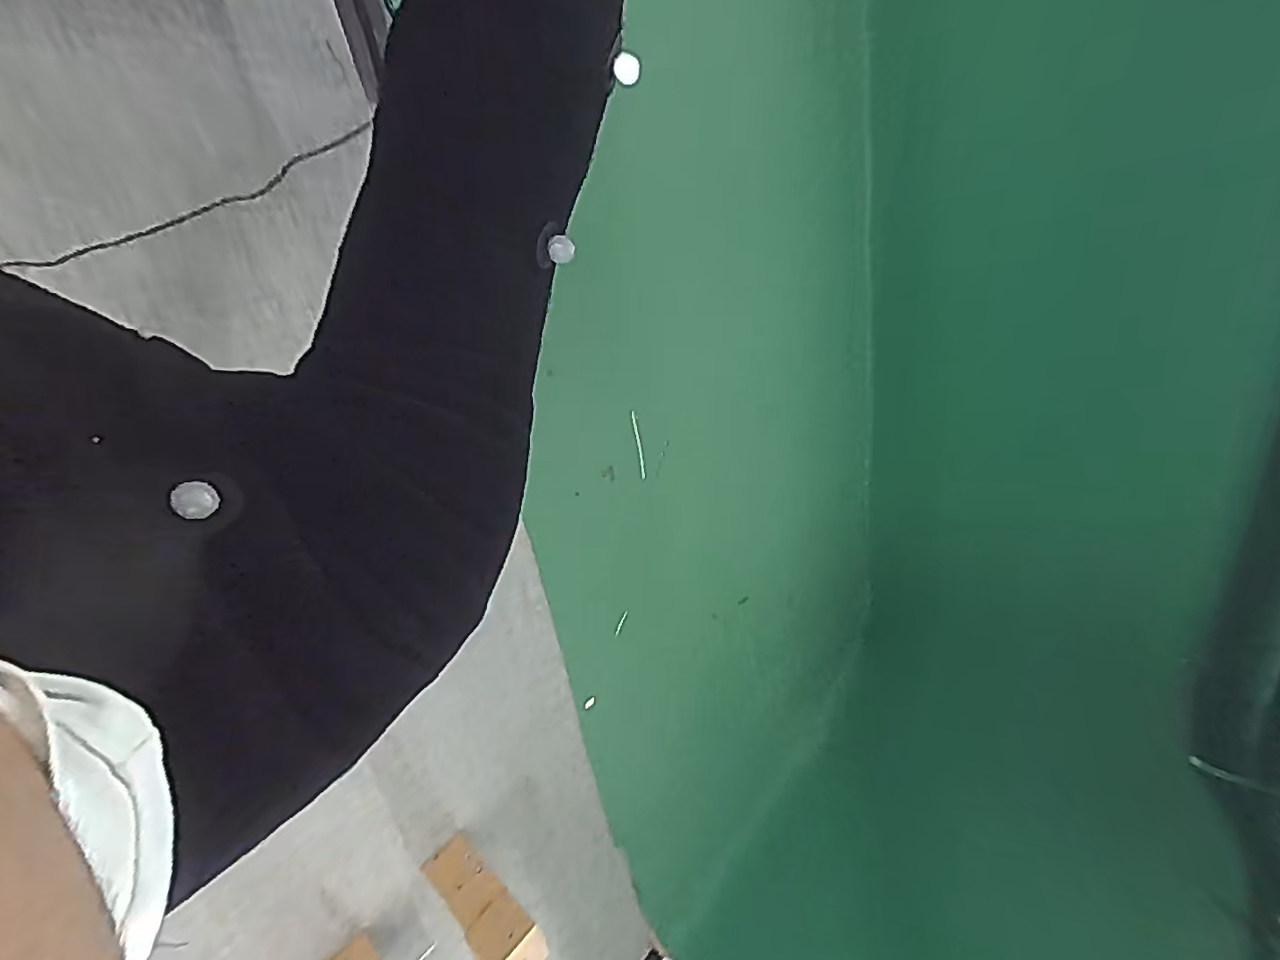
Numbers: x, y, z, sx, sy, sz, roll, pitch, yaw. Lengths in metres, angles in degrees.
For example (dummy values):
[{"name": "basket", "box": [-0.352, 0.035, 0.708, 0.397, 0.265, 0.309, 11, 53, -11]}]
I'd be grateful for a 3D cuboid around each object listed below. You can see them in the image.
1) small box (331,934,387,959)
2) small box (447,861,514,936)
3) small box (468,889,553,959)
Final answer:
[{"name": "small box", "box": [-0.892, 1.599, 1.708, 0.168, 0.176, 0.179, -21, 112, -42]}, {"name": "small box", "box": [-0.523, 1.443, 1.830, 0.168, 0.176, 0.179, -32, 121, -38]}, {"name": "small box", "box": [-0.410, 1.459, 1.710, 0.179, 0.176, 0.168, -31, 119, -39]}]
